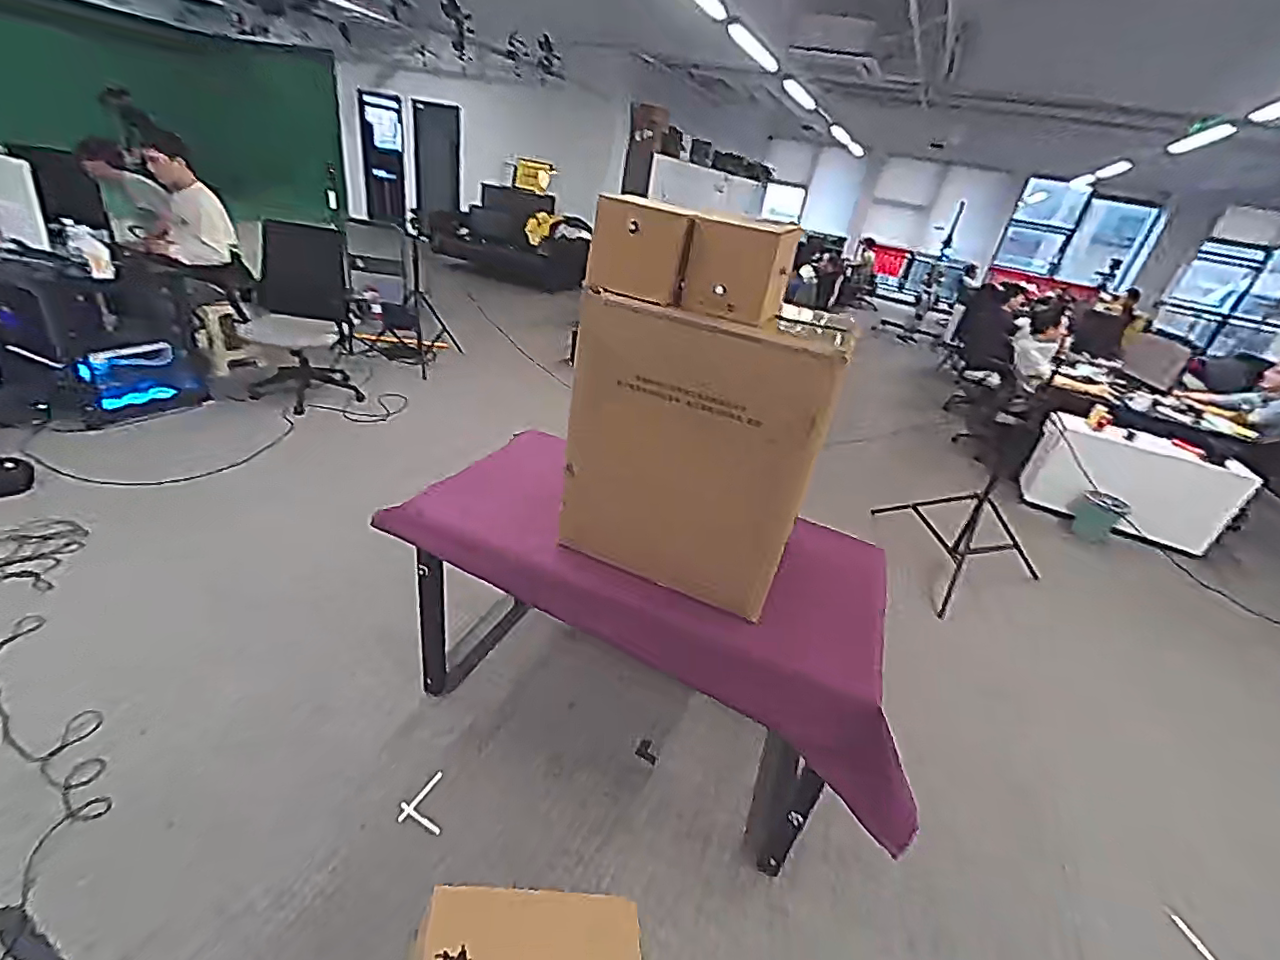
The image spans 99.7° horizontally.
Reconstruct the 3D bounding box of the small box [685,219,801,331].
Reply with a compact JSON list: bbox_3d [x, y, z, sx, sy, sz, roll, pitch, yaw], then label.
[{"bbox_3d":[0.200,-0.410,1.071,0.168,0.176,0.179,20,33,19],"label":"small box"}]

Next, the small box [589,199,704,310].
[{"bbox_3d":[0.013,-0.452,1.086,0.179,0.176,0.168,21,31,13],"label":"small box"}]

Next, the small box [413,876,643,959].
[{"bbox_3d":[-0.101,0.446,0.405,0.179,0.176,0.168,18,16,-15],"label":"small box"}]
